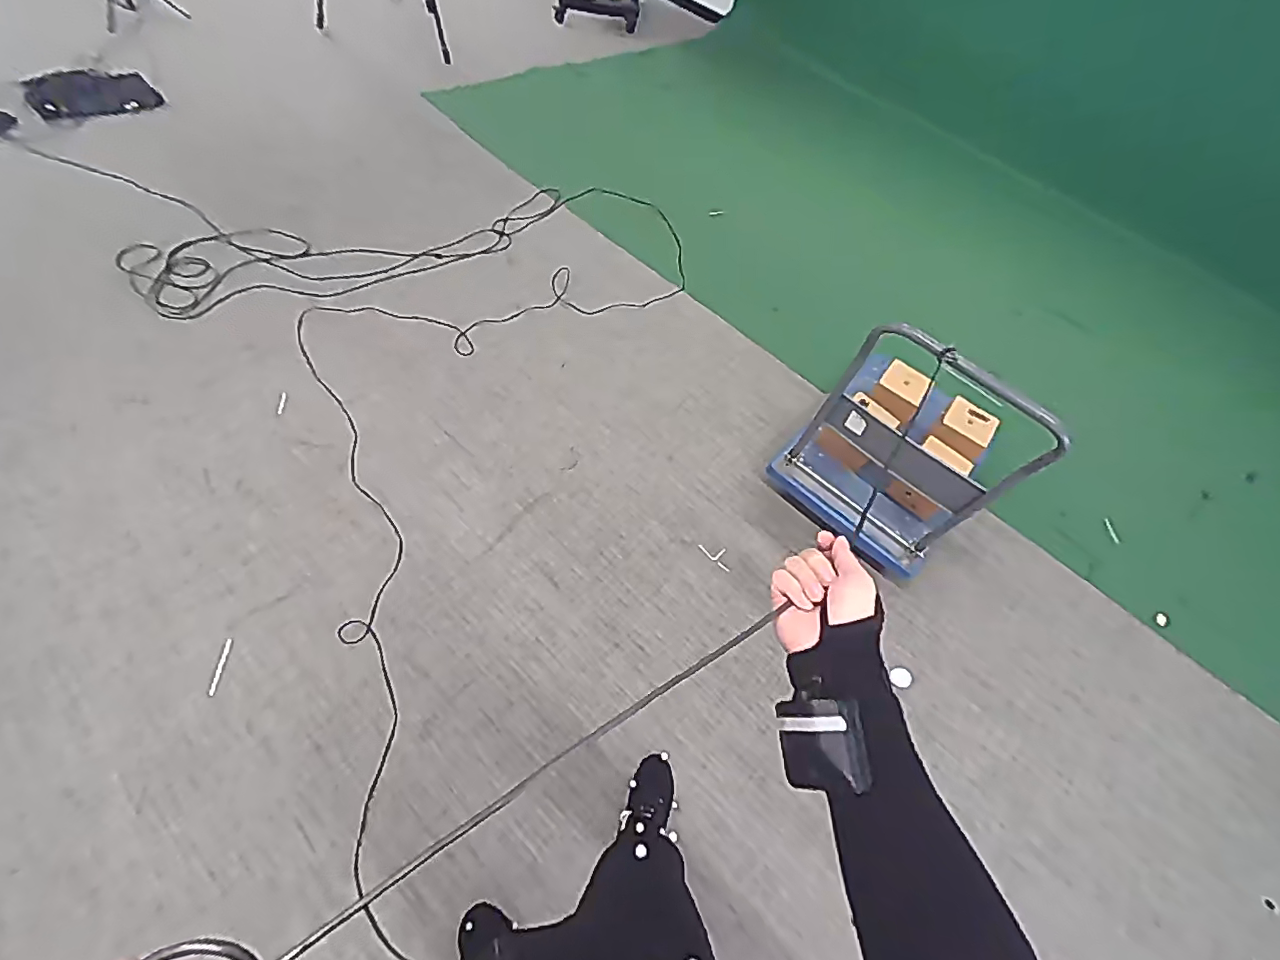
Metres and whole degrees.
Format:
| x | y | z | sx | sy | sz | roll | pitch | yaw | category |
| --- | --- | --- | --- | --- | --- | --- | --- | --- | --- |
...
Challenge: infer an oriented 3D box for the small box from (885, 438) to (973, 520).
| x | y | z | sx | sy | sz | roll | pitch | yaw | category |
| --- | --- | --- | --- | --- | --- | --- | --- | --- | --- |
| 0.963 | 0.000 | 1.815 | 0.168 | 0.176 | 0.179 | 41 | 60 | 16 | small box |

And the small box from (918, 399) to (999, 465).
| x | y | z | sx | sy | sz | roll | pitch | yaw | category |
| --- | --- | --- | --- | --- | --- | --- | --- | --- | --- |
| 1.142 | -0.151 | 1.950 | 0.168 | 0.176 | 0.179 | 37 | 59 | 14 | small box |

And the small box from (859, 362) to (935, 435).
| x | y | z | sx | sy | sz | roll | pitch | yaw | category |
| --- | --- | --- | --- | --- | --- | --- | --- | --- | --- |
| 0.946 | -0.298 | 2.008 | 0.168 | 0.176 | 0.179 | 38 | 58 | 13 | small box |
